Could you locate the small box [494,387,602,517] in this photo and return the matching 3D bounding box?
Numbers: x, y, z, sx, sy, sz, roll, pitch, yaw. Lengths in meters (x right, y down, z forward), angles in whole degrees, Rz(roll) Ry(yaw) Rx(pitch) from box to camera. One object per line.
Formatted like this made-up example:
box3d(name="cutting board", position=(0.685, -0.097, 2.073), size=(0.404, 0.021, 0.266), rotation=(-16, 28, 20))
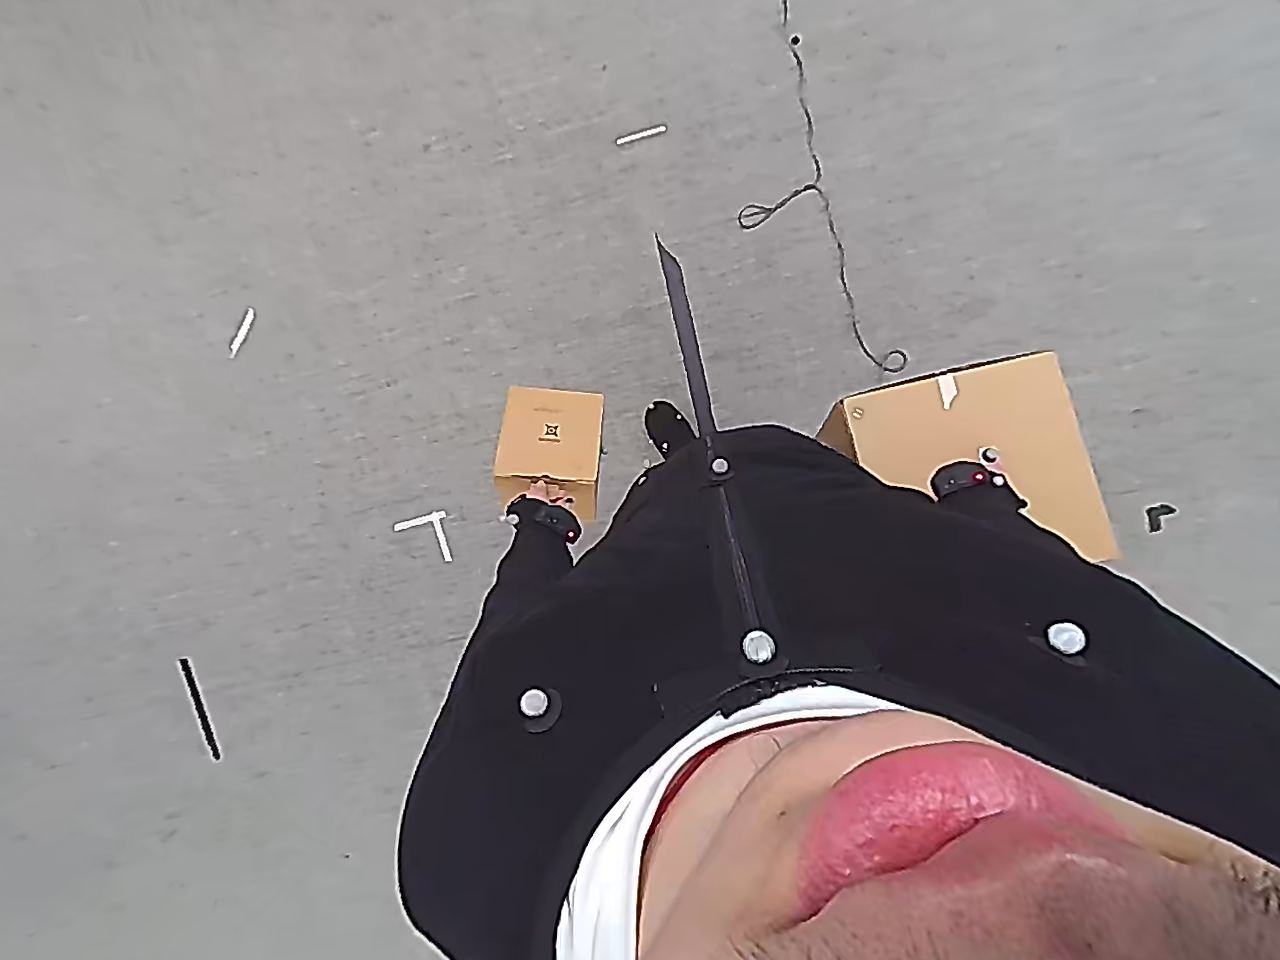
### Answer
box3d(name="small box", position=(-0.159, -0.044, 0.983), size=(0.168, 0.176, 0.179), rotation=(5, 63, -5))
